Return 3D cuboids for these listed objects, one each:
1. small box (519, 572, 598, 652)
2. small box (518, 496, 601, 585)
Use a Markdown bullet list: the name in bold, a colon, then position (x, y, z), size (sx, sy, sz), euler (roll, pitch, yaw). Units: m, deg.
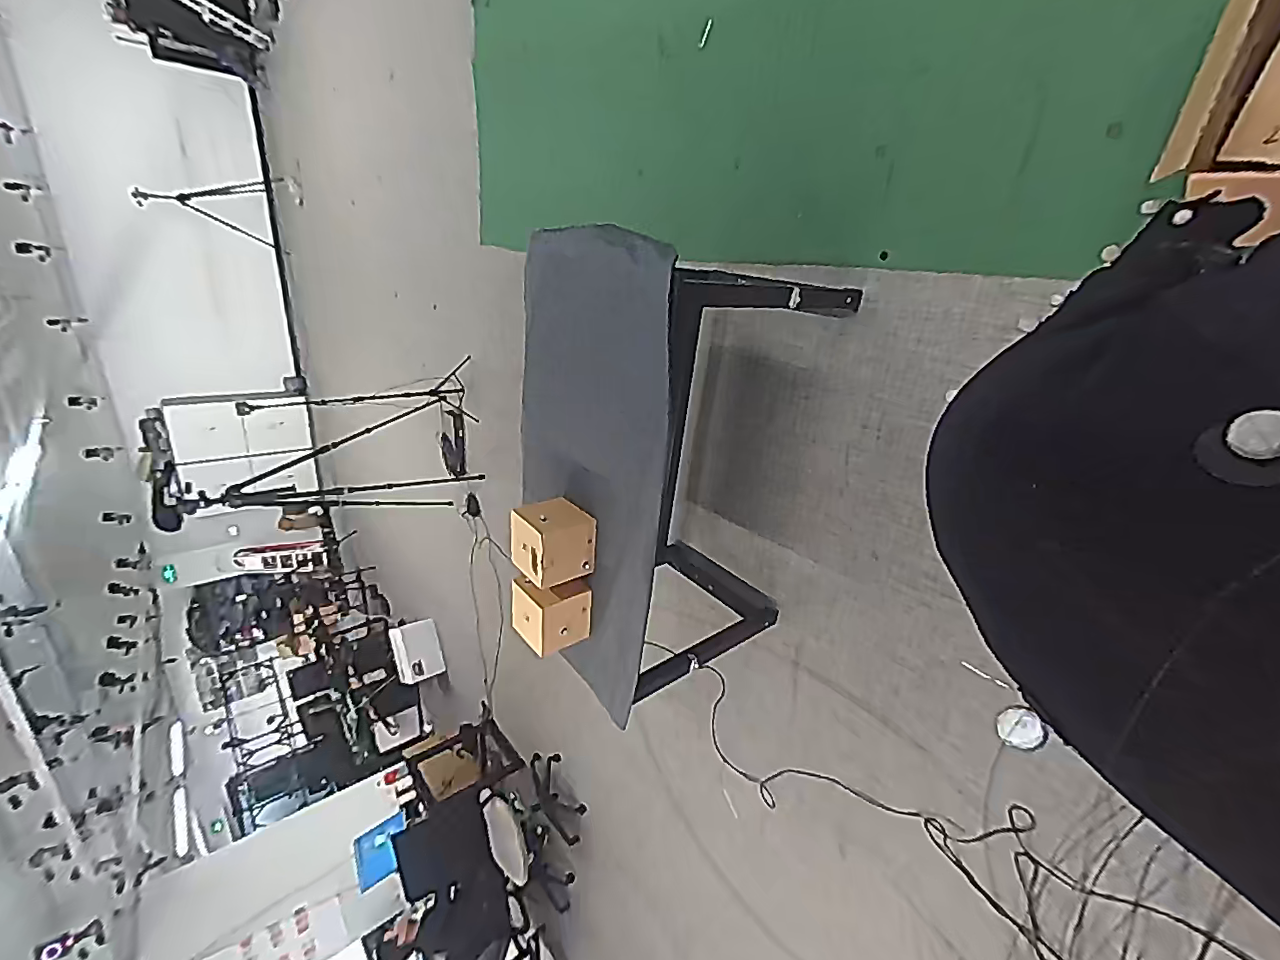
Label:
- **small box**: position (-0.236, 0.364, 1.582), size (0.179, 0.176, 0.168), euler (28, 122, 45)
- **small box**: position (-0.222, 0.158, 1.496), size (0.179, 0.176, 0.168), euler (28, 122, 45)
